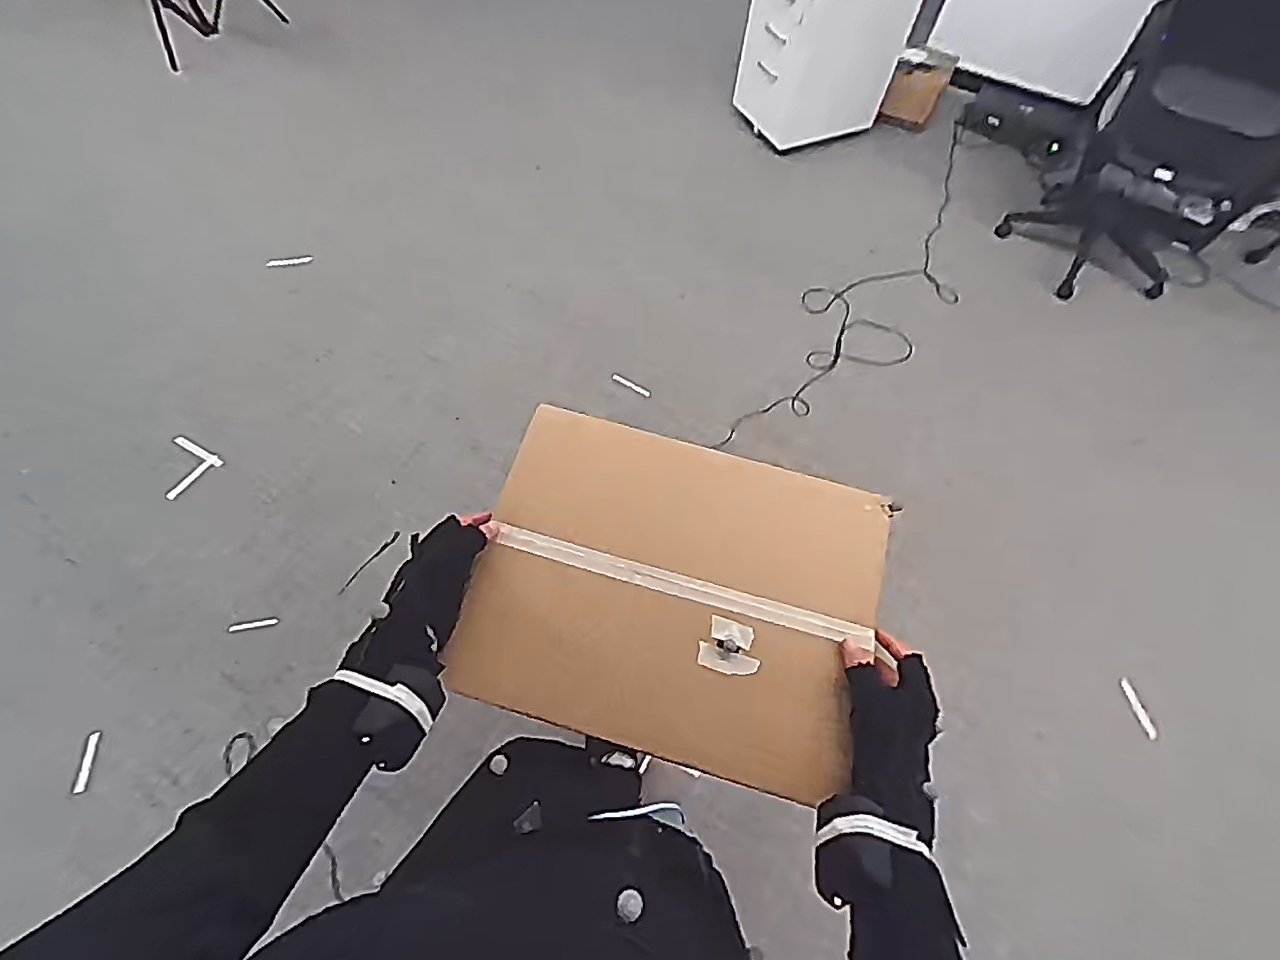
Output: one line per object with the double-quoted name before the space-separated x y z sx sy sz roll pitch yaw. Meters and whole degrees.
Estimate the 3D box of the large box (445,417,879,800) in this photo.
"large box" 0.032 0.164 0.704 0.408 0.320 0.320 16 70 4
